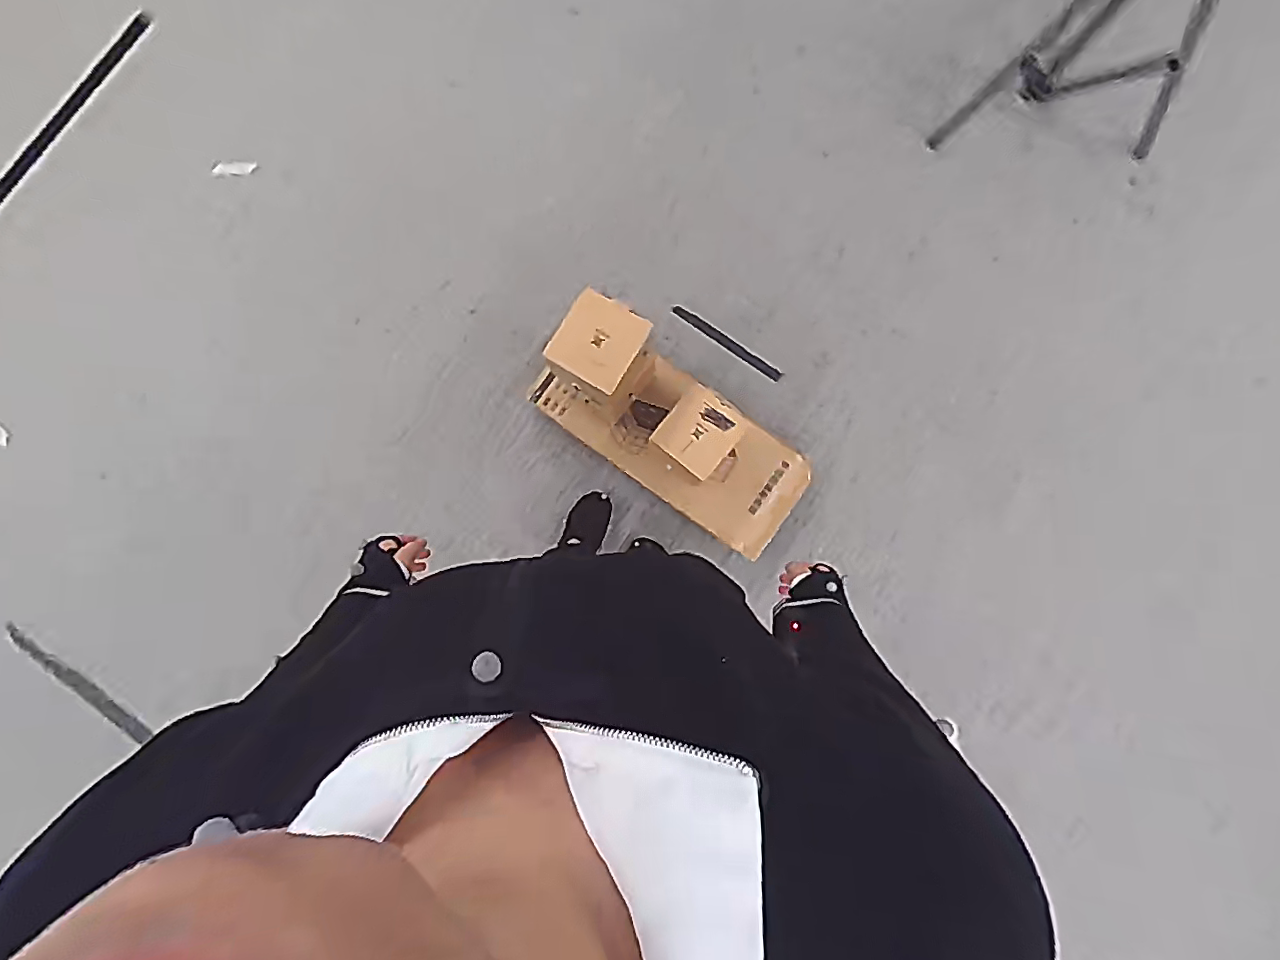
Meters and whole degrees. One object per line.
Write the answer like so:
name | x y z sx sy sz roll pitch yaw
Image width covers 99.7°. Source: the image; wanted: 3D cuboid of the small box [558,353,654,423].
small box | -0.077 -0.263 1.338 0.168 0.176 0.179 38 88 3

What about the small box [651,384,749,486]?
small box | 0.138 -0.102 1.328 0.168 0.176 0.179 40 87 4

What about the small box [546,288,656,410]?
small box | -0.081 -0.275 1.176 0.168 0.176 0.179 31 87 2
